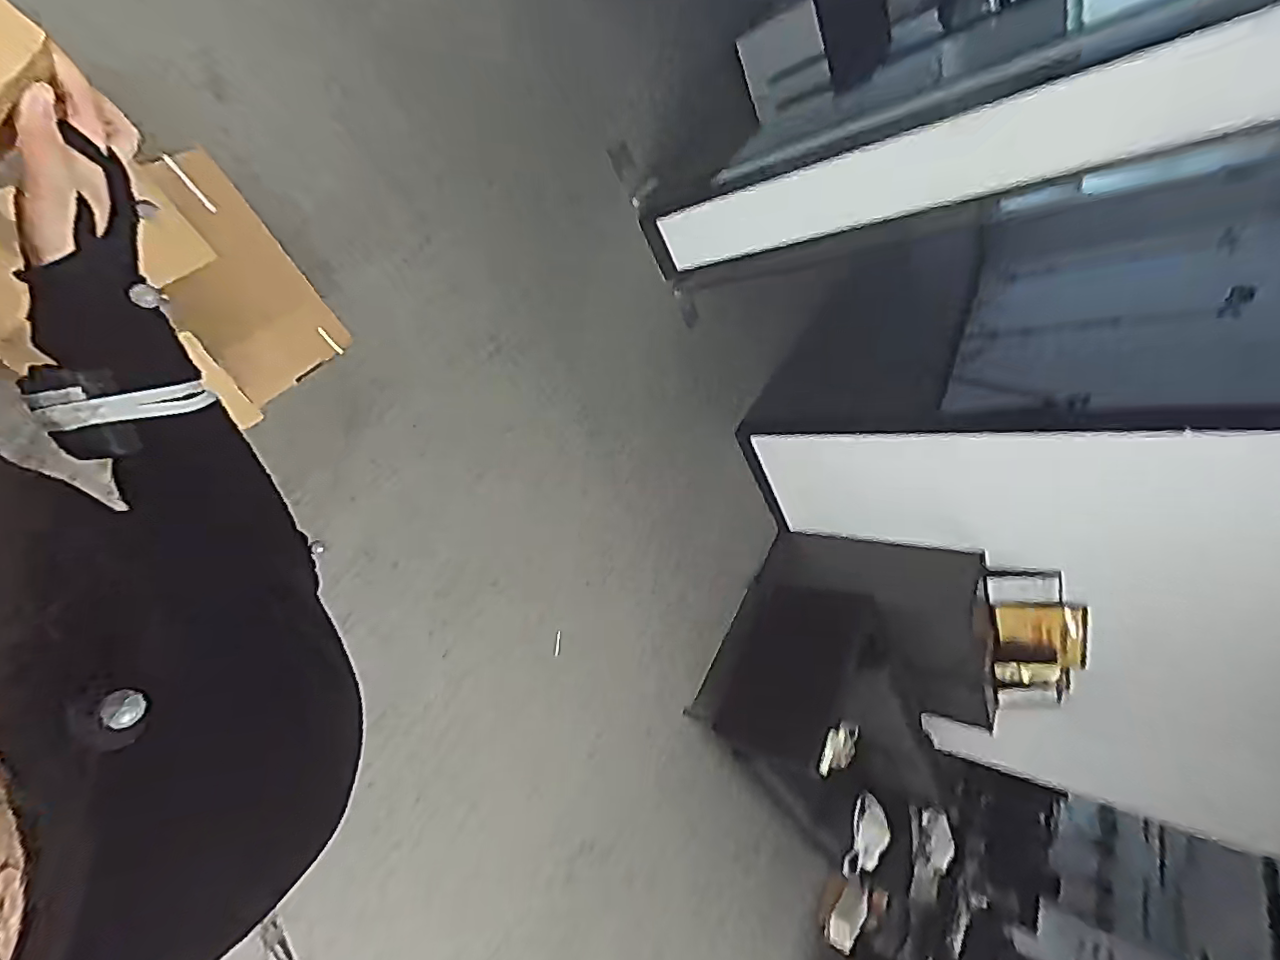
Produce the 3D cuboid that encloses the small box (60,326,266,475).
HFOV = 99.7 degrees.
[{"bbox_3d":[-0.762,-0.126,0.867,0.179,0.176,0.168,-52,129,-36],"label":"small box"}]

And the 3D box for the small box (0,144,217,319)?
[{"bbox_3d":[-0.799,-0.363,0.813,0.179,0.176,0.168,-54,130,-34],"label":"small box"}]
